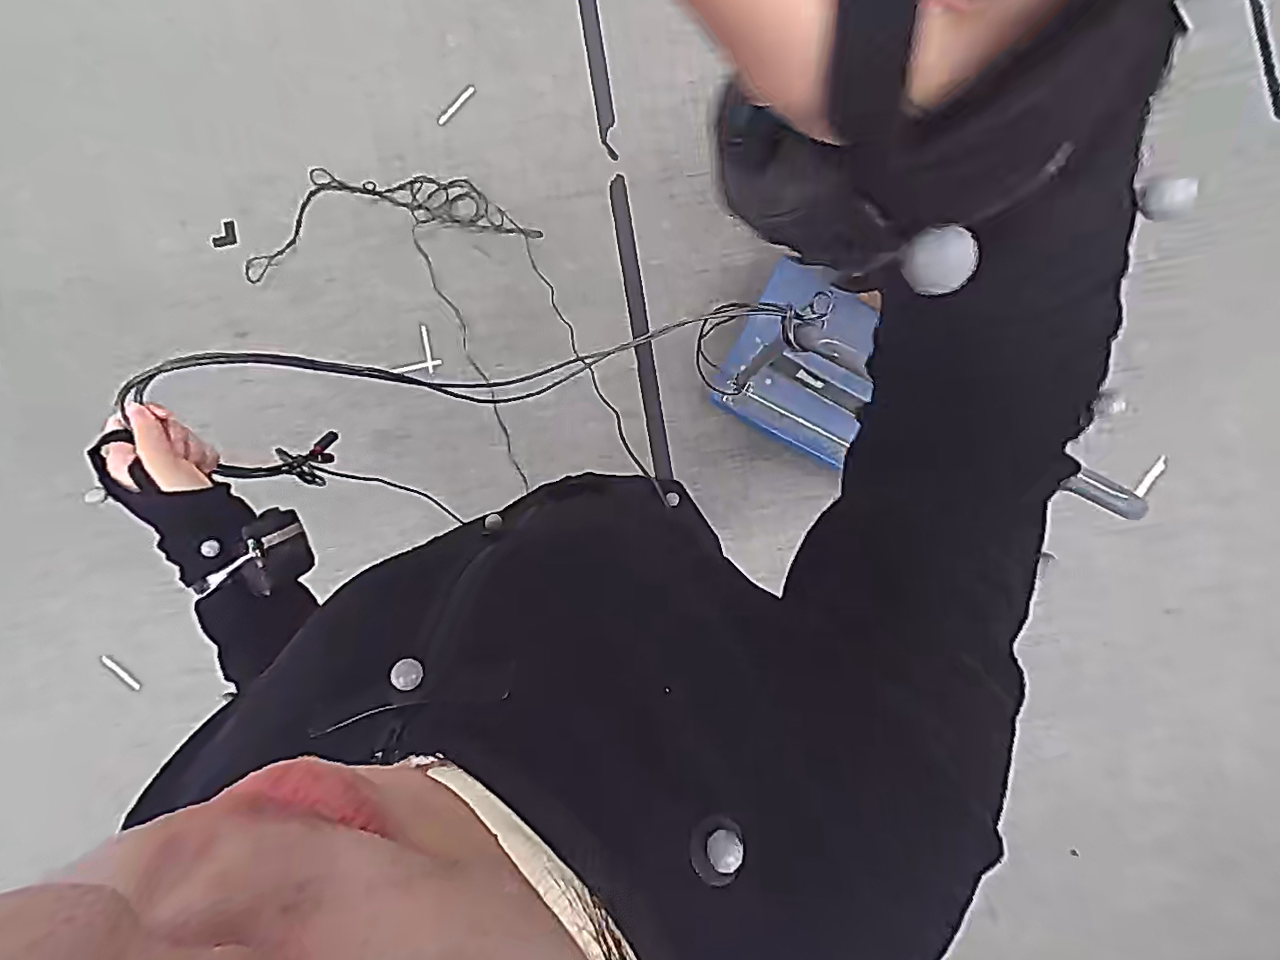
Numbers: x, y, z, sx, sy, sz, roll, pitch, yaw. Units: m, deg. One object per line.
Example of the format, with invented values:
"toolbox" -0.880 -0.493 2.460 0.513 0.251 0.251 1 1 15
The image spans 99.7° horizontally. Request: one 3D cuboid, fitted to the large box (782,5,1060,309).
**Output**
"large box" 0.571 -0.660 1.177 0.320 0.320 0.408 33 89 0
